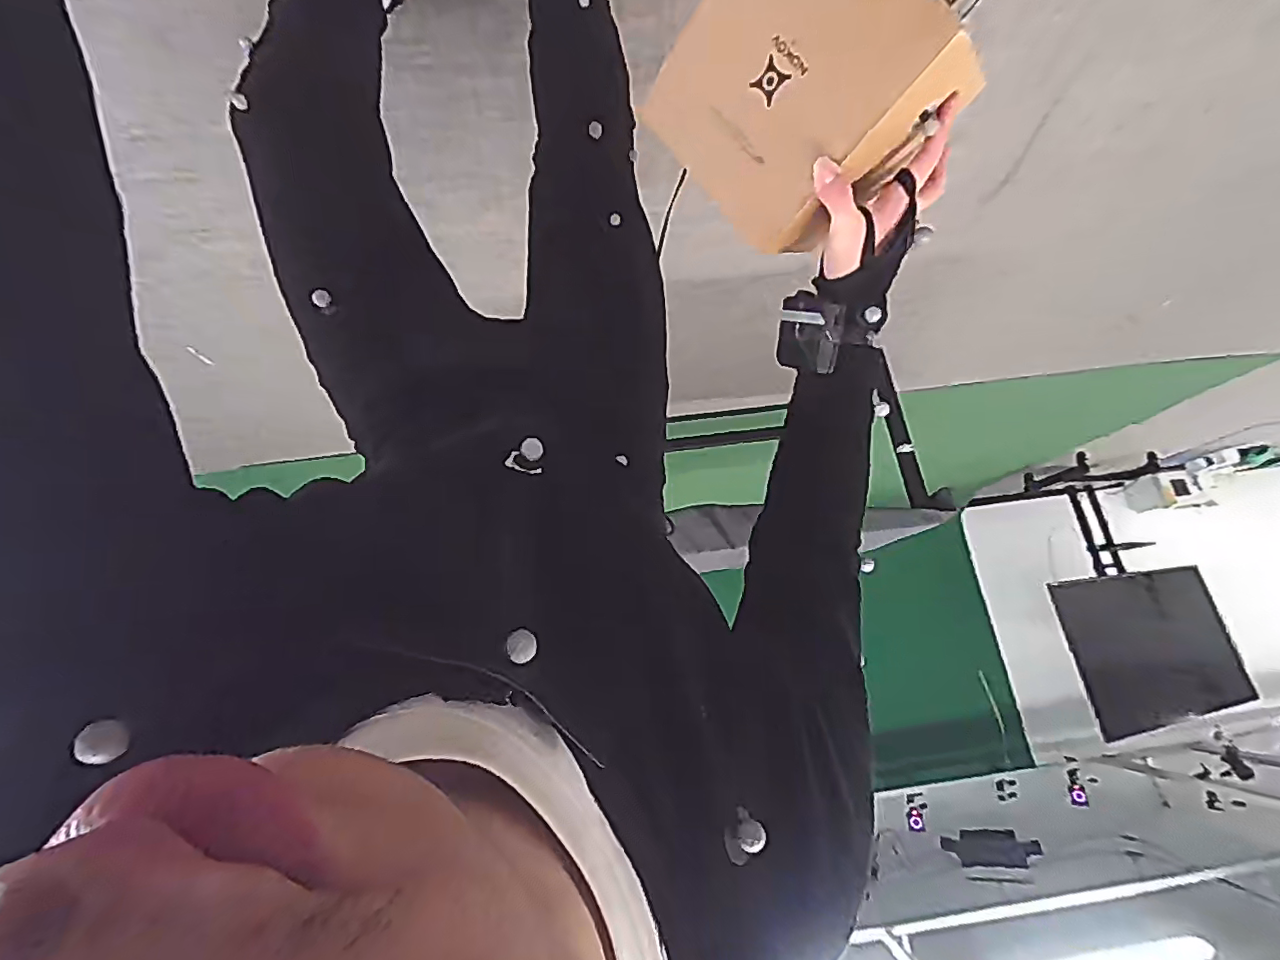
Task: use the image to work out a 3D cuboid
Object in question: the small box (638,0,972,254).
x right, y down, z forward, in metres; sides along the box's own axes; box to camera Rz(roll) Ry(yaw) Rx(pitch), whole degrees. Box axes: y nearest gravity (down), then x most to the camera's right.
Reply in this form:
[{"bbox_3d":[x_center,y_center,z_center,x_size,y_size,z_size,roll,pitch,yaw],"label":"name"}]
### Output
[{"bbox_3d":[0.139,-0.310,0.439,0.176,0.168,0.179,-26,168,-50],"label":"small box"}]
